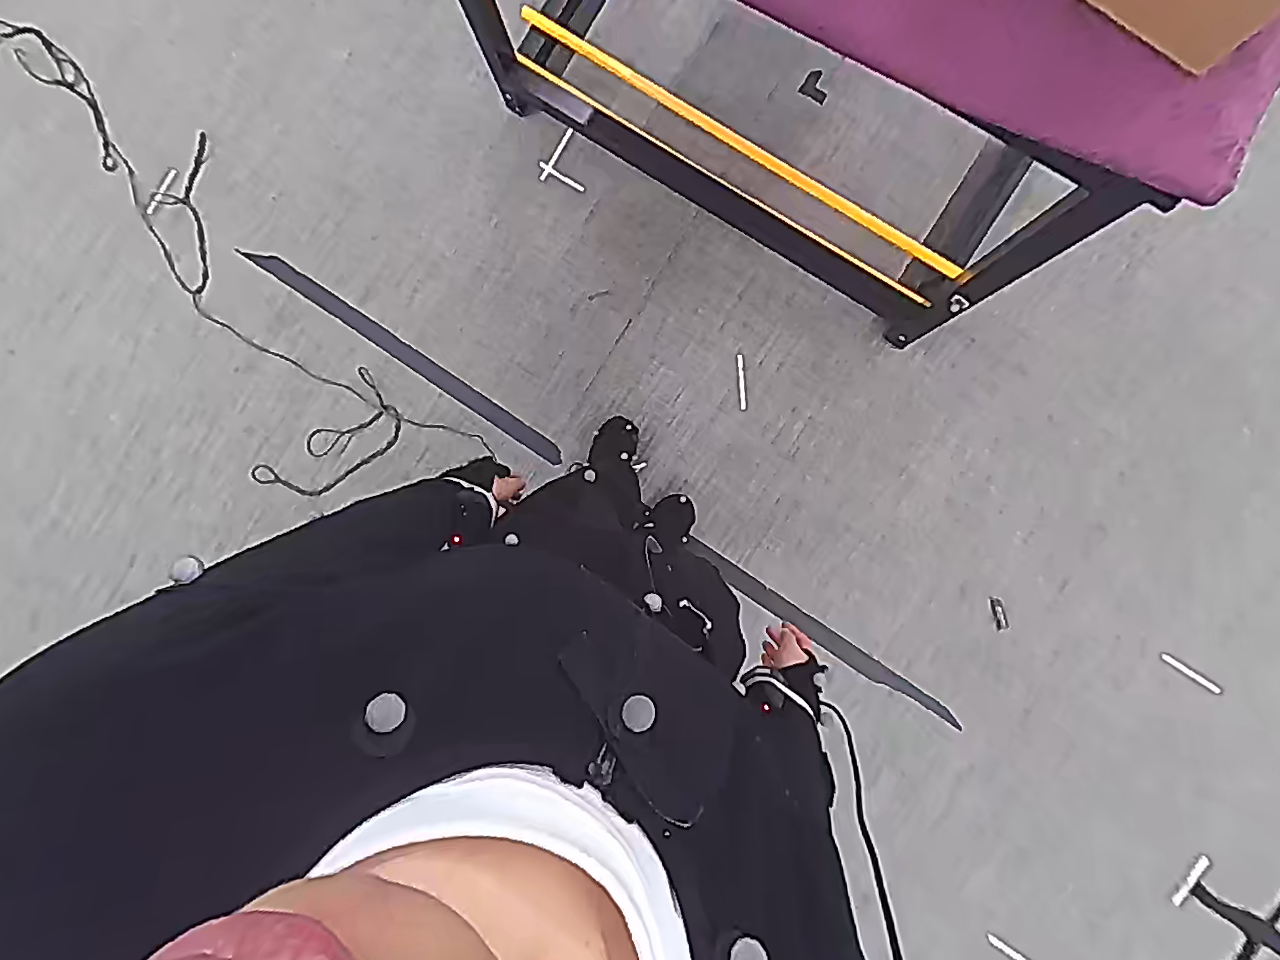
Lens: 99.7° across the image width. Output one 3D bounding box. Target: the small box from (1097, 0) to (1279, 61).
[{"bbox_3d":[0.588,-0.563,0.516,0.179,0.176,0.168,38,91,3],"label":"small box"}]
